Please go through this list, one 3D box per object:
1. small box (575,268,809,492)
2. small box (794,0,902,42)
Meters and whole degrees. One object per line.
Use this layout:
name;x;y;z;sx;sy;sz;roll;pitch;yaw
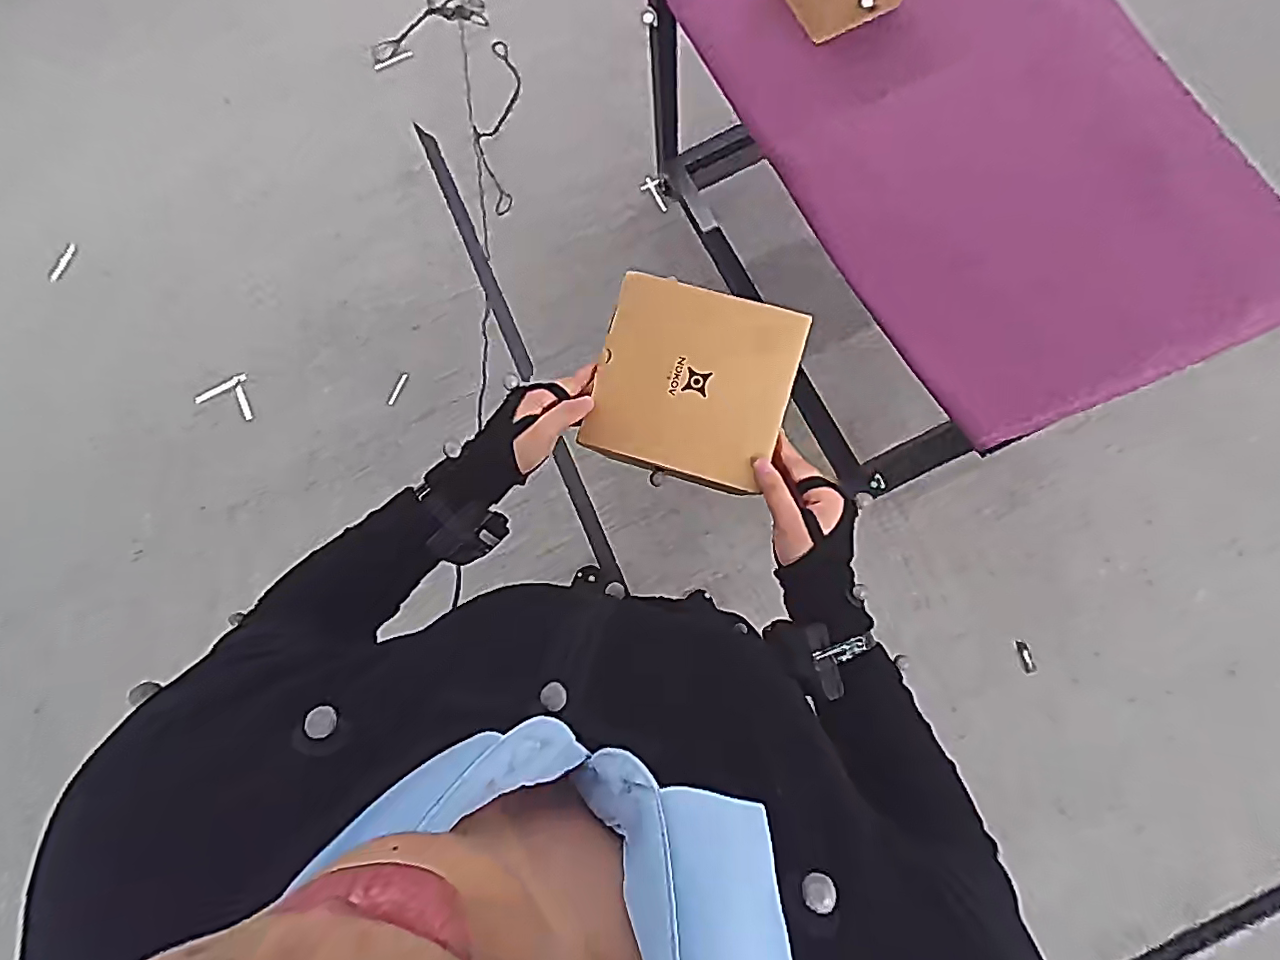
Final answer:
small box;0.052;-0.090;0.563;0.179;0.176;0.168;16;90;6
small box;0.341;-0.876;0.875;0.168;0.176;0.179;-25;80;-1
